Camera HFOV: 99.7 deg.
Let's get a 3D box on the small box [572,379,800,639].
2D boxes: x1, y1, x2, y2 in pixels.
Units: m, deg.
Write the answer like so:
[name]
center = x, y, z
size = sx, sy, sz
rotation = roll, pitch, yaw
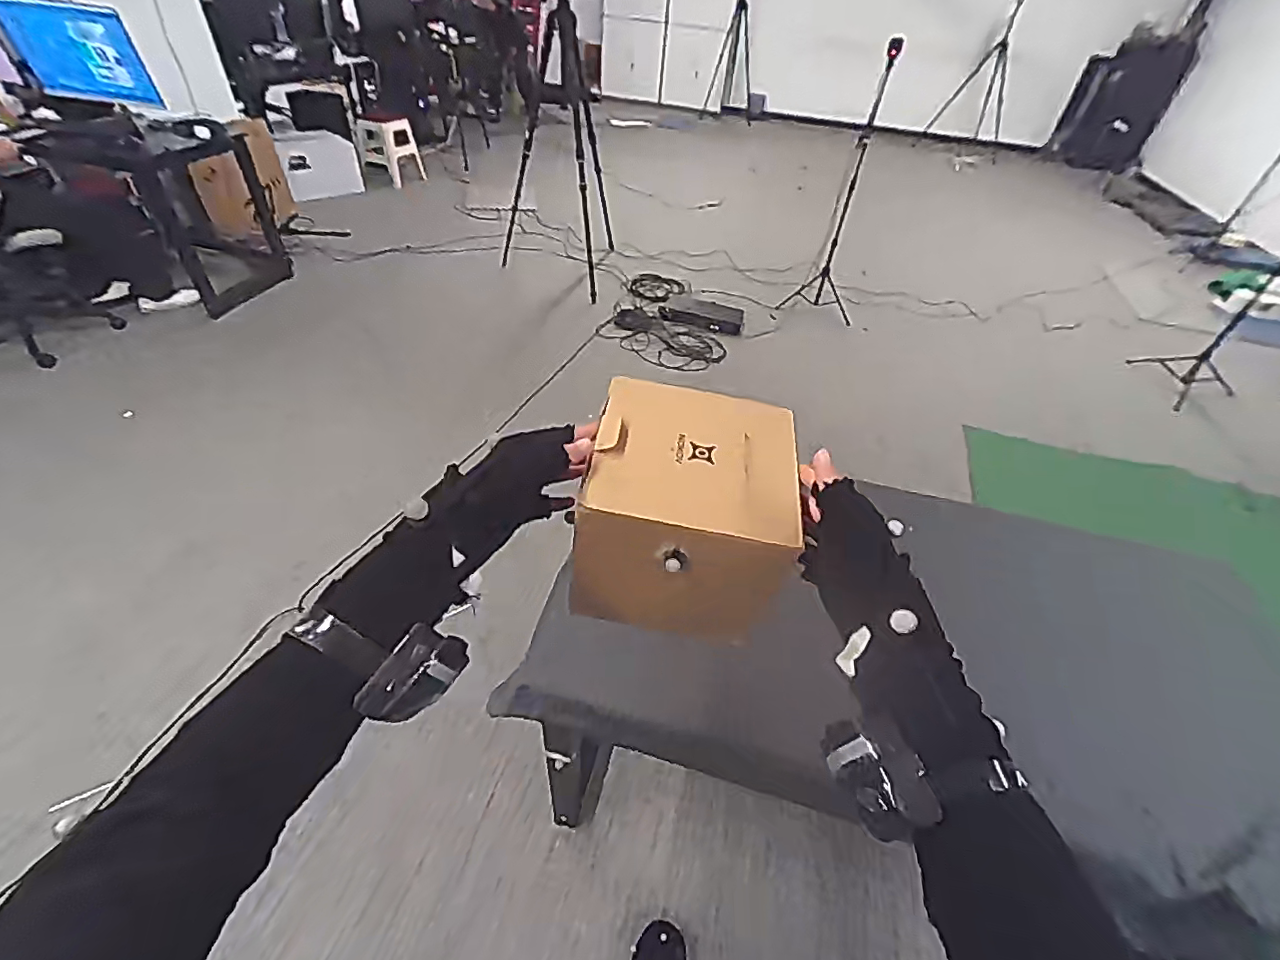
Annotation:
[small box]
center = 0.037, 0.032, 0.518
size = 0.179, 0.176, 0.168
rotation = 12, 48, -1
